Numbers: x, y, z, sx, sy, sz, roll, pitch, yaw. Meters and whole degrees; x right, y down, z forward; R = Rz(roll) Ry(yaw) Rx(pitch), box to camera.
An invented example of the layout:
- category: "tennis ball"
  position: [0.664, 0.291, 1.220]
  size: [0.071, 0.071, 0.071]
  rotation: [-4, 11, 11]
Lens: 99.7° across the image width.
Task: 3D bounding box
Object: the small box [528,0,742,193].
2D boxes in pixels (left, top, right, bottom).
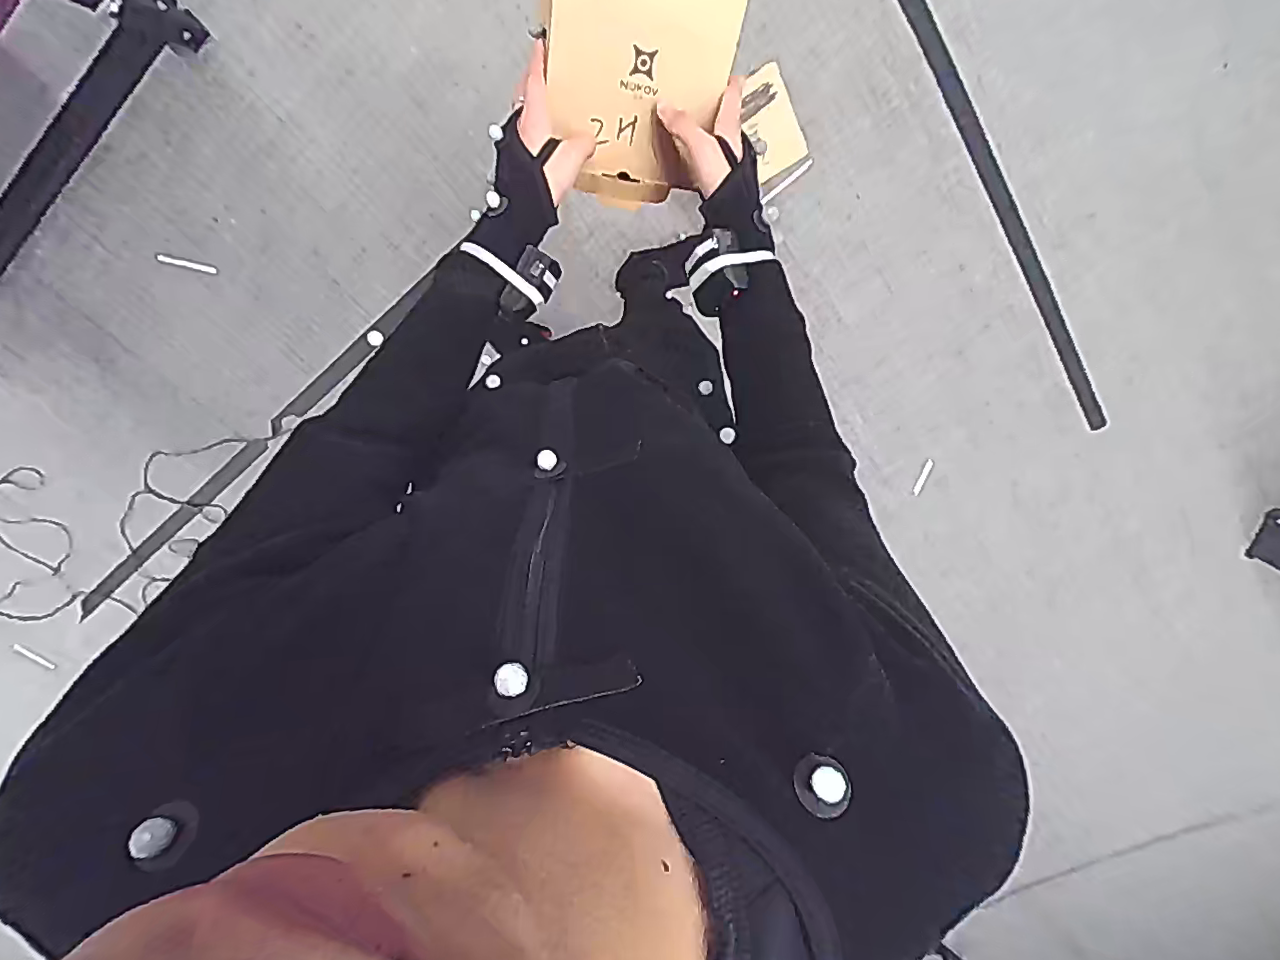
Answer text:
- category: "small box"
  position: [-0.021, -0.417, 0.538]
  size: [0.168, 0.176, 0.179]
  rotation: [1, 133, -16]

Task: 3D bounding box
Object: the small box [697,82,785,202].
- category: "small box"
  position: [0.207, -0.774, 1.261]
  size: [0.179, 0.176, 0.168]
  rotation: [-33, 114, 12]
